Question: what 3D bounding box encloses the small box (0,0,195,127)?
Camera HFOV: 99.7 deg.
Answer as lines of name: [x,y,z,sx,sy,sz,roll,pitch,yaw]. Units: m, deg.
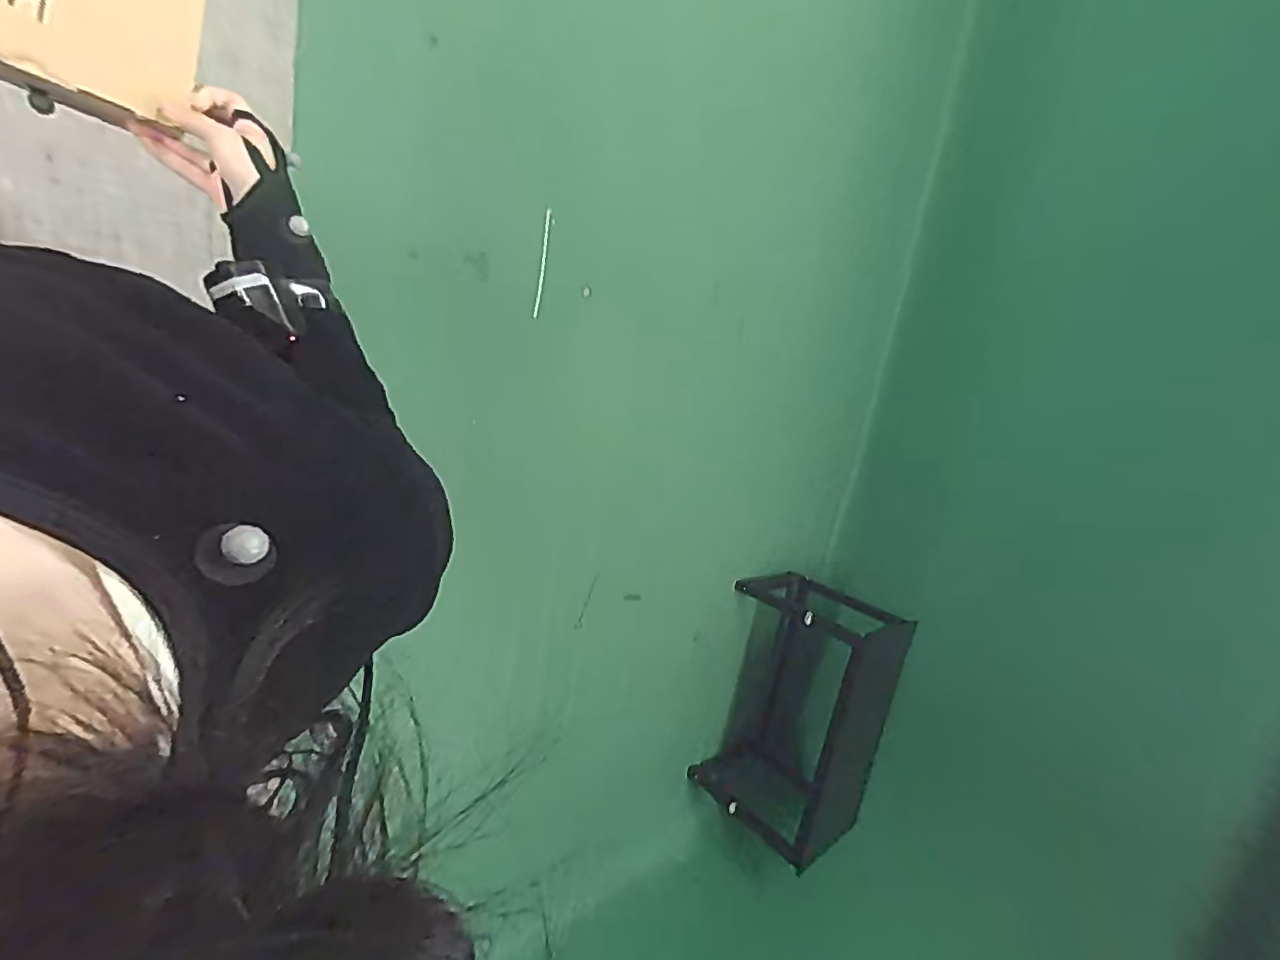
small box: [-0.437,-0.393,0.393,0.168,0.176,0.179,7,107,-46]
